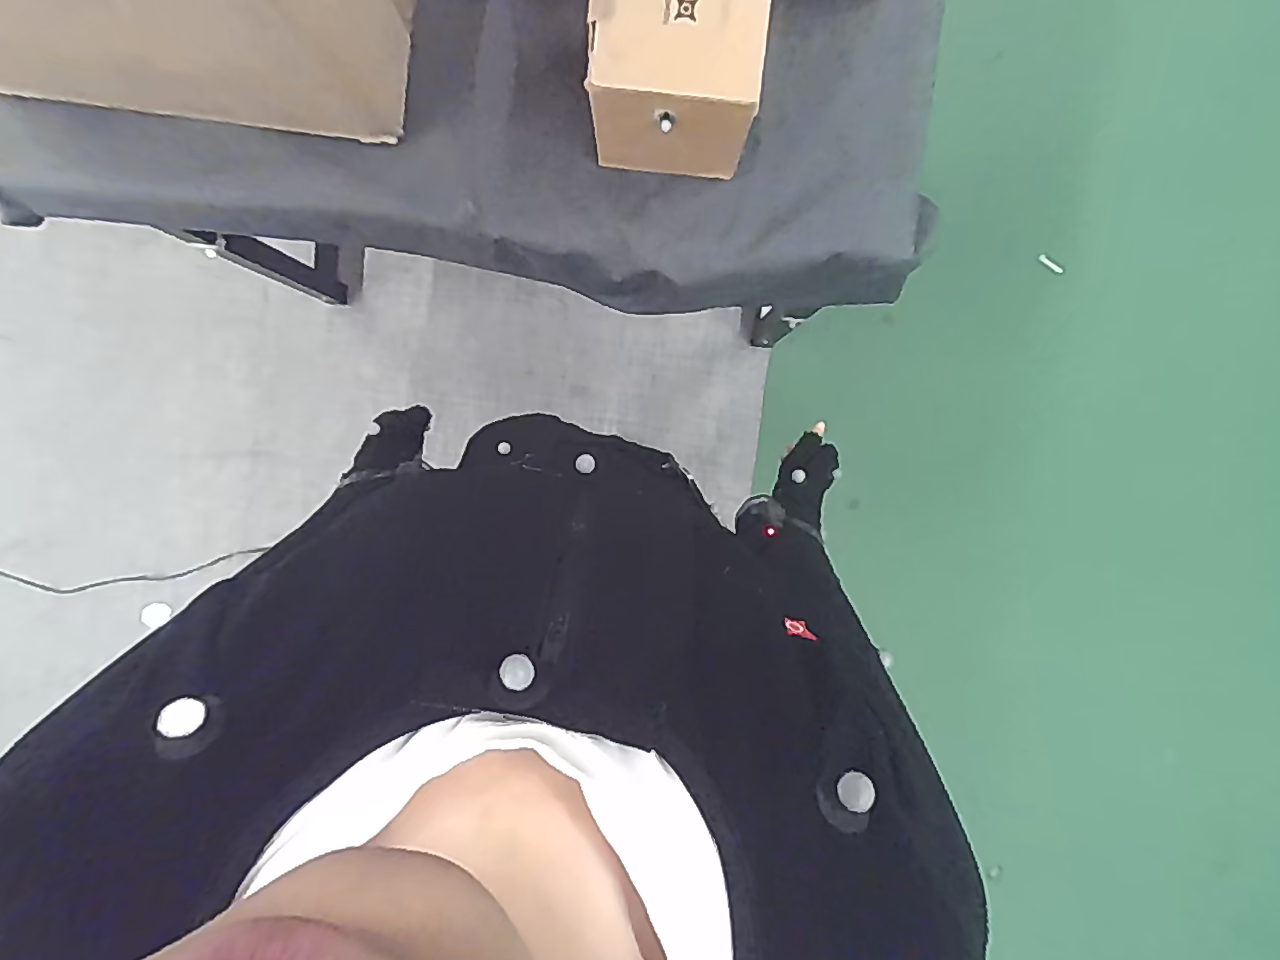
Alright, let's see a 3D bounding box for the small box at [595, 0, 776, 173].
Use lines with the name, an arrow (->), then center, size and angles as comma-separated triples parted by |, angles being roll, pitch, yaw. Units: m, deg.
small box -> 0.049, -0.480, 0.620 | 0.179, 0.176, 0.168 | 6, 95, -1
